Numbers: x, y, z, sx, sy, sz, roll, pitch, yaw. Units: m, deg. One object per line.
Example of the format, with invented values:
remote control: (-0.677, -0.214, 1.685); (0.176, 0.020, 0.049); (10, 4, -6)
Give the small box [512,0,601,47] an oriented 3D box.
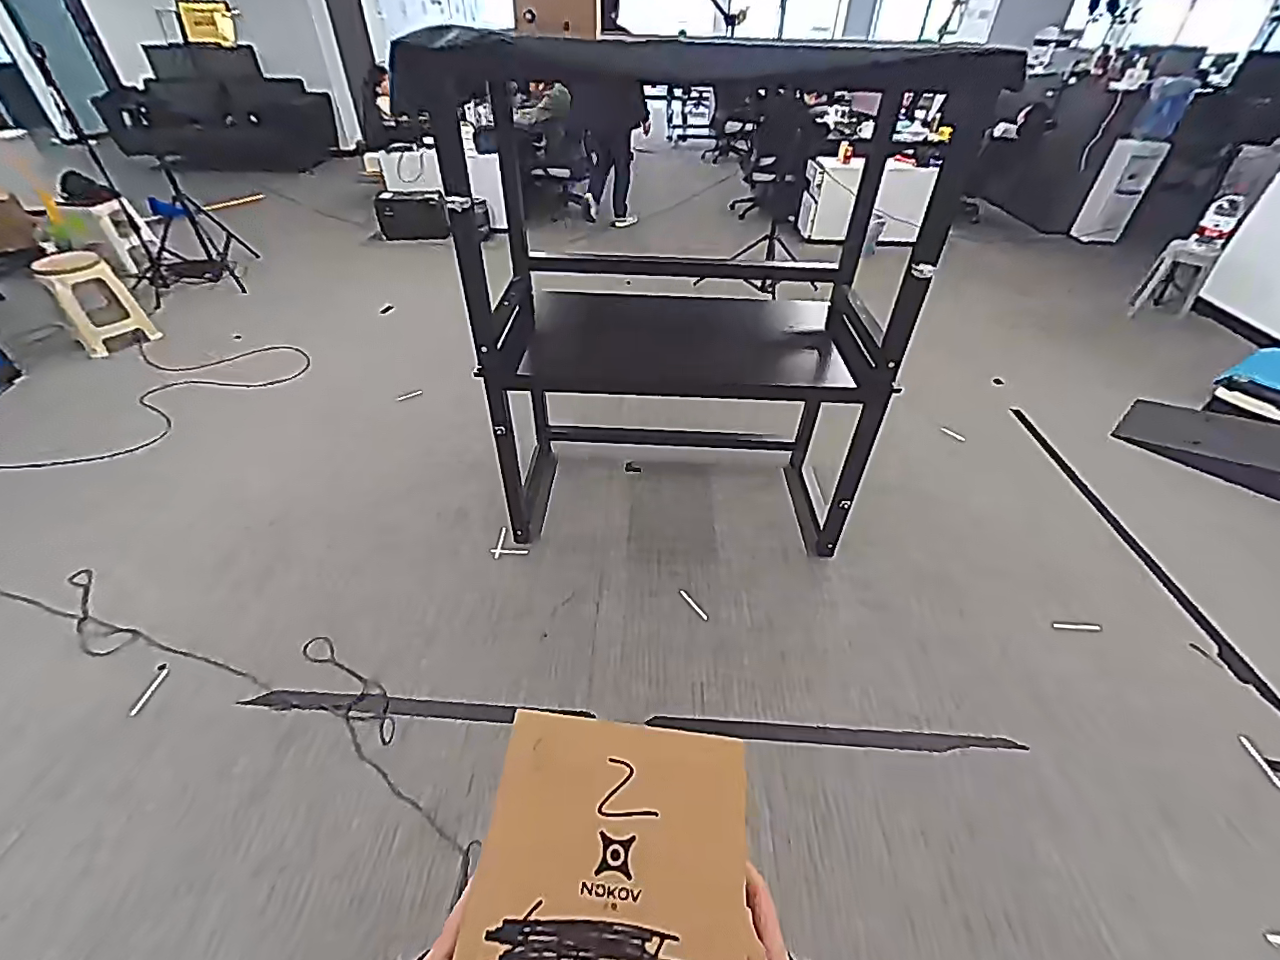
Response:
small box: (-0.167, -0.989, 1.096); (0.168, 0.176, 0.179); (2, 38, -2)
